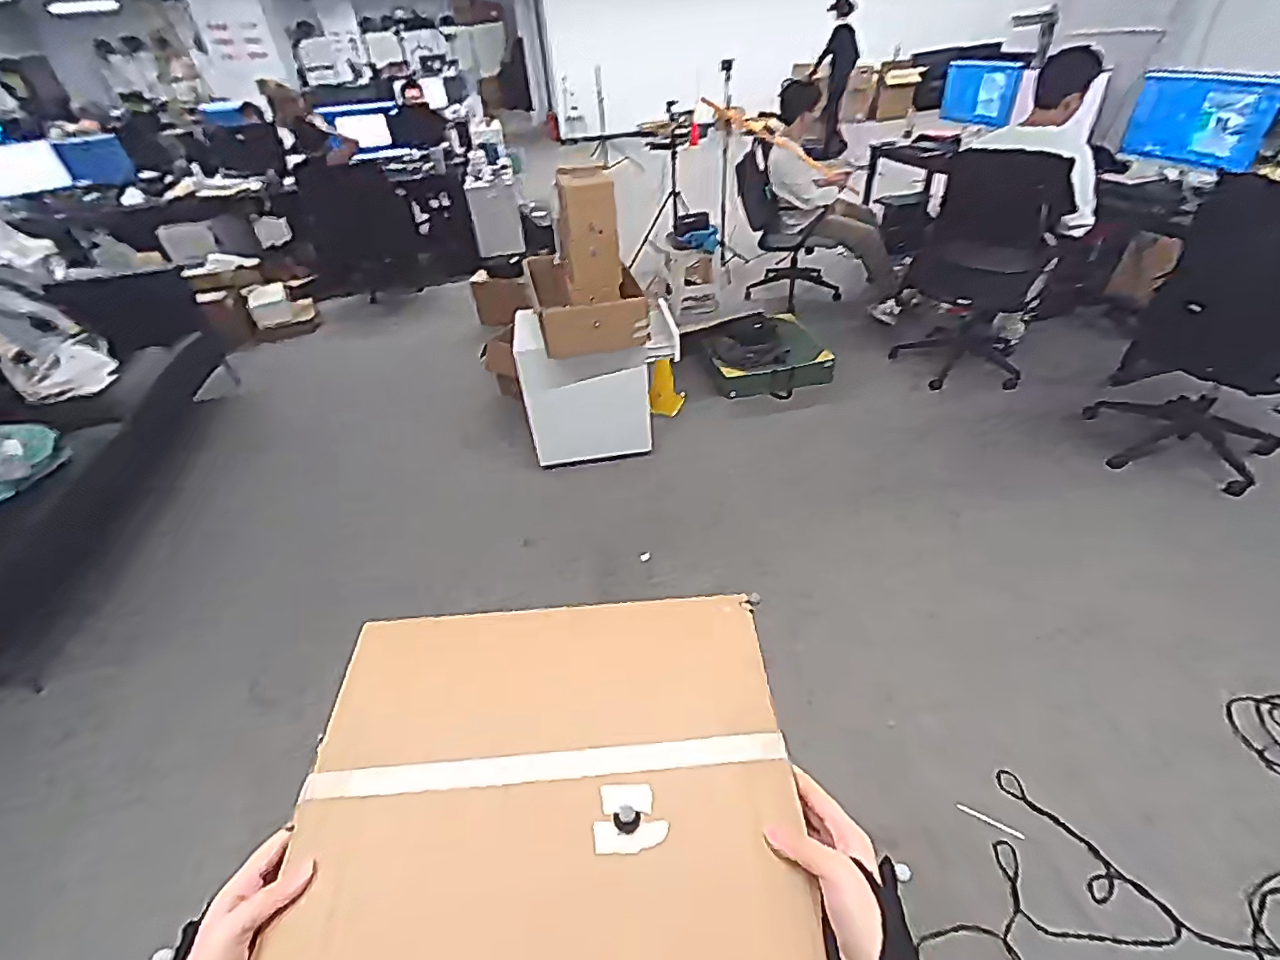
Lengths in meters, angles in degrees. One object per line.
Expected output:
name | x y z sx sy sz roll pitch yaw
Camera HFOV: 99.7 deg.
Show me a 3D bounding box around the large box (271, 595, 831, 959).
large box | -0.070 0.351 0.578 0.408 0.320 0.320 -3 45 -2
